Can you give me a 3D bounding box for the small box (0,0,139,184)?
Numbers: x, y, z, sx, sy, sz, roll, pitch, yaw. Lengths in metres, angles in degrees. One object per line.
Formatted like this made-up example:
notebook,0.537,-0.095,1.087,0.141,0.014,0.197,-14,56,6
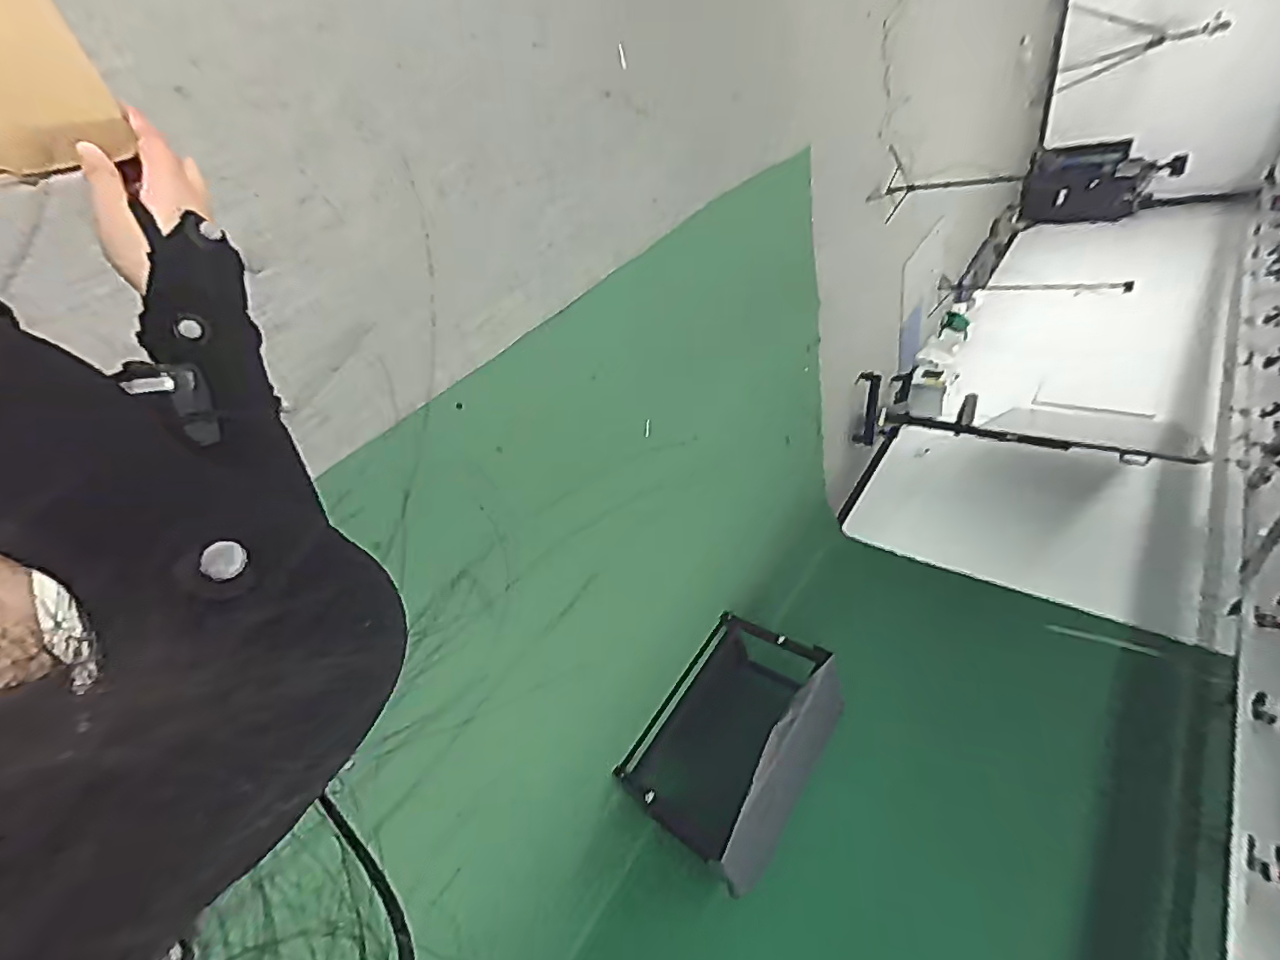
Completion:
small box,-0.479,-0.296,0.346,0.168,0.176,0.179,-31,138,-25
